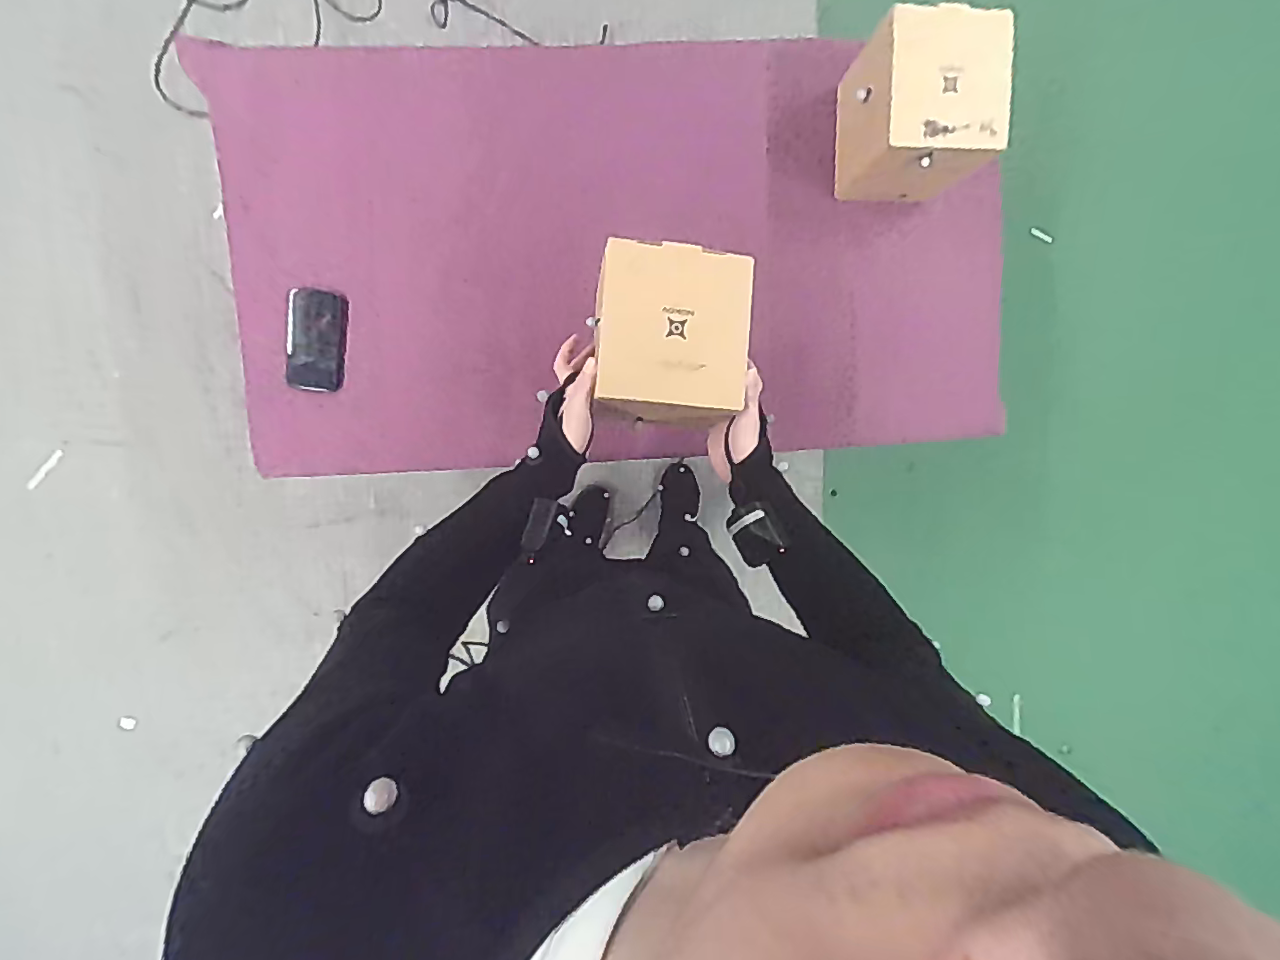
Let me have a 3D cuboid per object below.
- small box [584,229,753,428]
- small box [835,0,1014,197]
[{"bbox_3d":[0.023,-0.165,0.645,0.168,0.176,0.179,6,88,-7],"label":"small box"},{"bbox_3d":[0.391,-0.533,0.771,0.168,0.176,0.179,-1,94,-3],"label":"small box"}]
